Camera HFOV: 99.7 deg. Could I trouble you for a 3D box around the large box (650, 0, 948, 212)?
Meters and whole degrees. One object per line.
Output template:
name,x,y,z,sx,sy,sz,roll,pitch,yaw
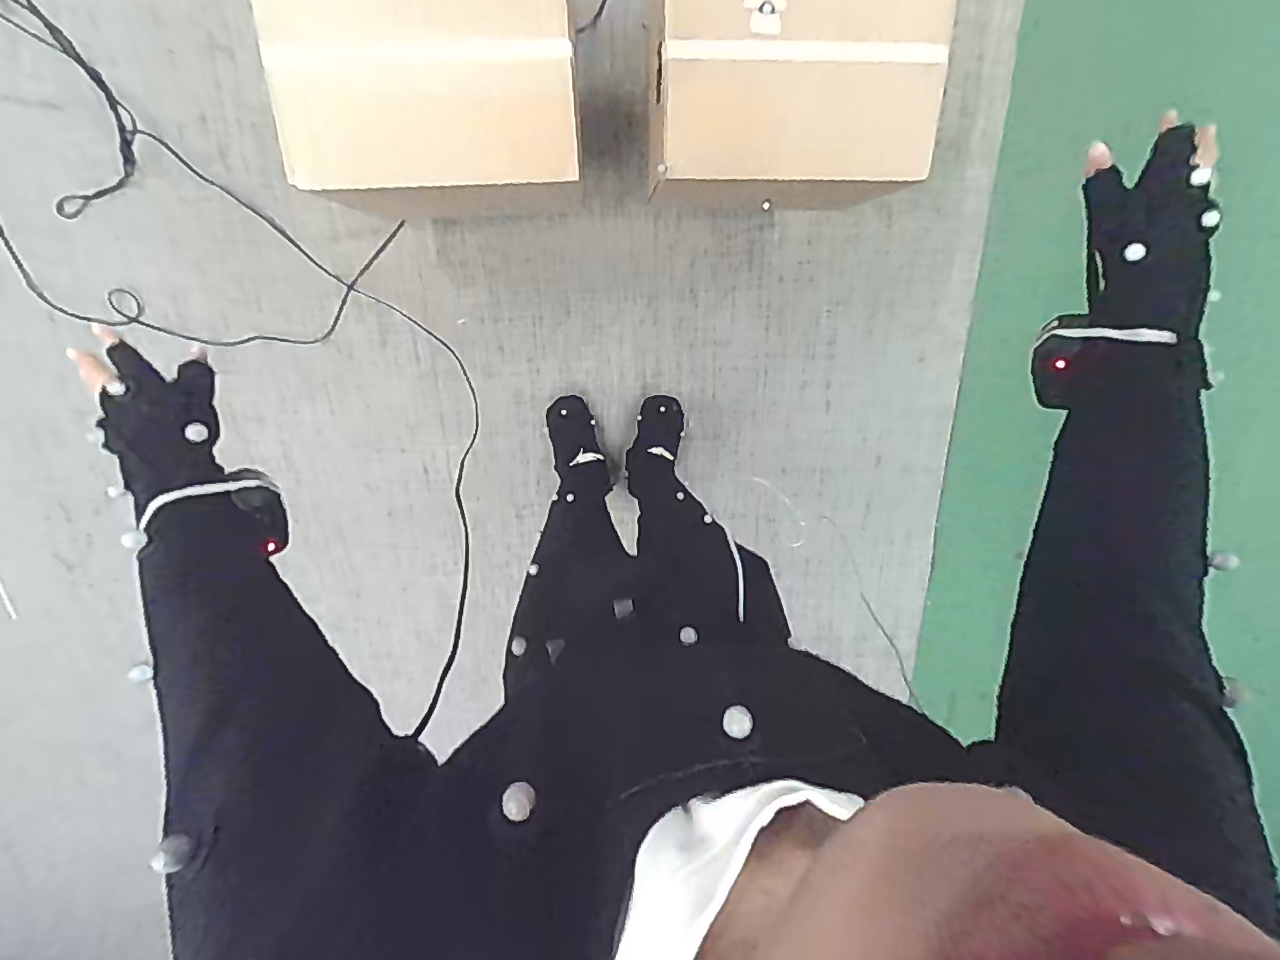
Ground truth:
large box,0.230,-0.643,0.921,0.408,0.320,0.320,-1,108,-3
